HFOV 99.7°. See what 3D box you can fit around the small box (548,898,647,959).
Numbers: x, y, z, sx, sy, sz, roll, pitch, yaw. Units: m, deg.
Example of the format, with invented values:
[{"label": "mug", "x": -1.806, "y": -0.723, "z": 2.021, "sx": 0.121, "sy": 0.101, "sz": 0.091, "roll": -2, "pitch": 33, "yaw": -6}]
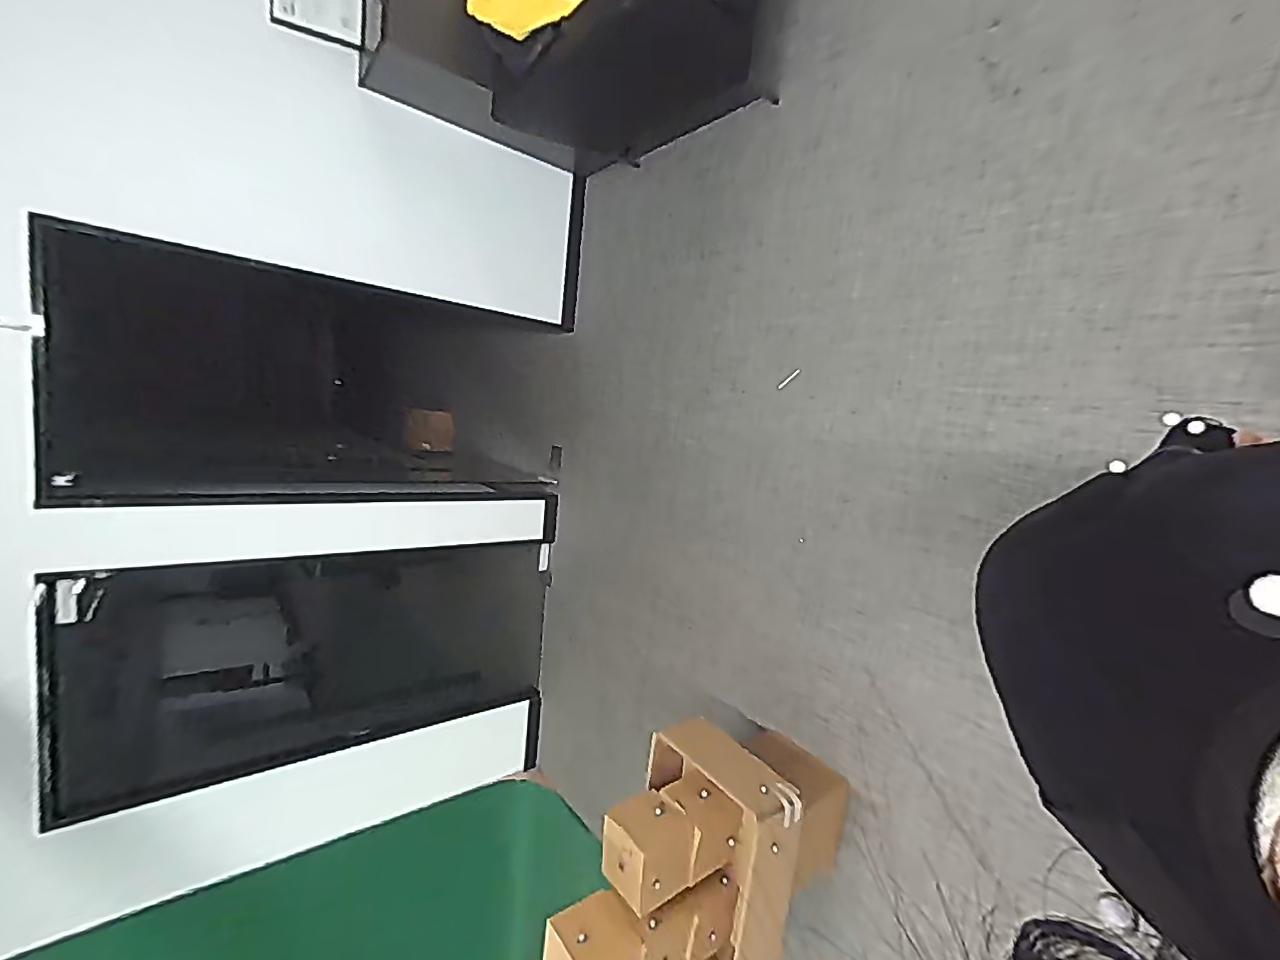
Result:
[{"label": "small box", "x": -0.106, "y": 1.165, "z": 1.309, "sx": 0.179, "sy": 0.176, "sz": 0.168, "roll": 14, "pitch": 99, "yaw": 51}]
